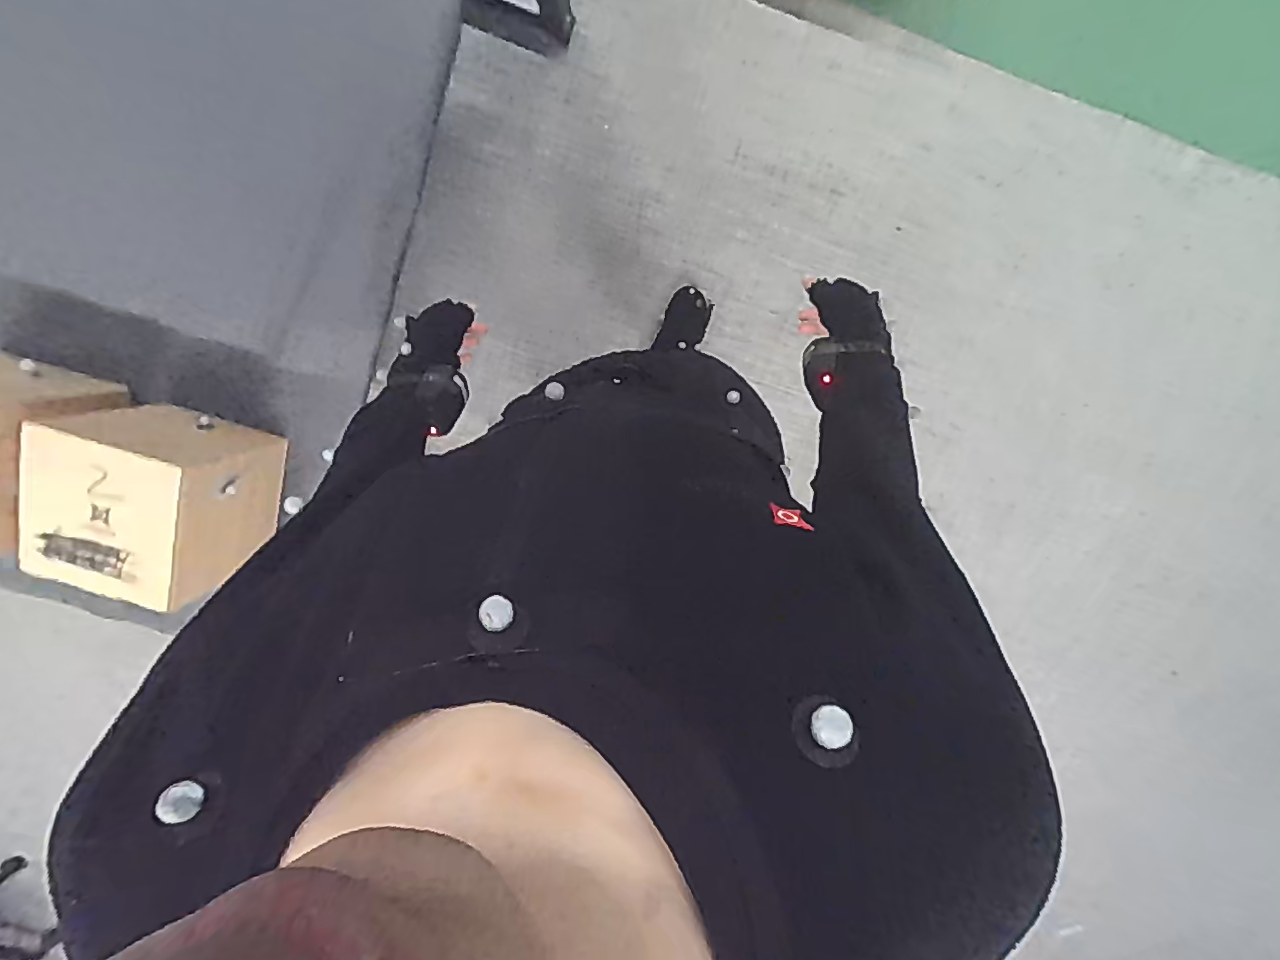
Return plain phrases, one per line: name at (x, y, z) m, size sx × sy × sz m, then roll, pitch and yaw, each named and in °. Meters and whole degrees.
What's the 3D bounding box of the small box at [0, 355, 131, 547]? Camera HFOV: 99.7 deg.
small box at (-0.761, -0.040, 0.642) m, size 0.168 × 0.176 × 0.179 m, roll 16°, pitch 105°, yaw -4°
